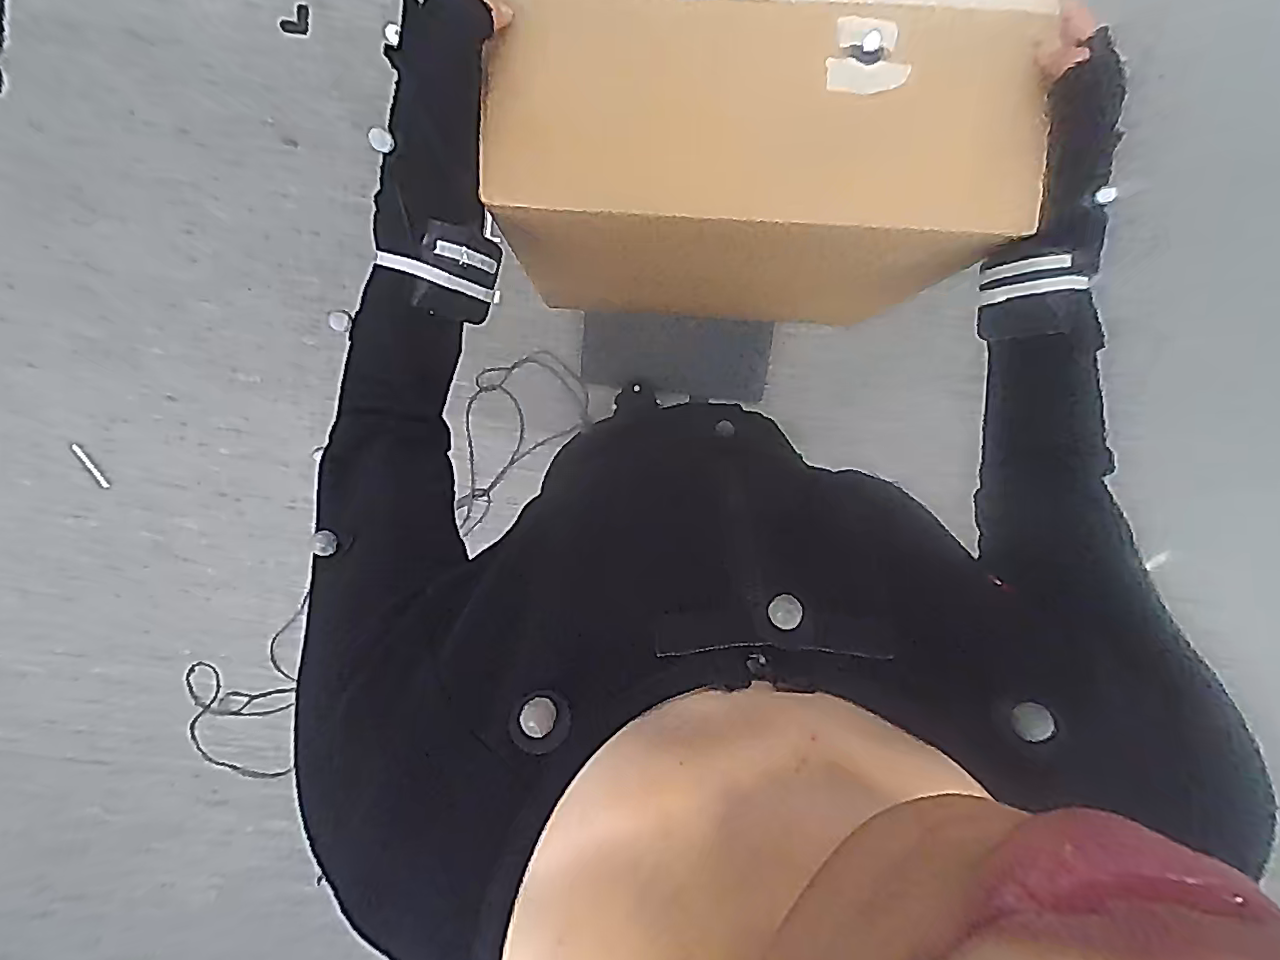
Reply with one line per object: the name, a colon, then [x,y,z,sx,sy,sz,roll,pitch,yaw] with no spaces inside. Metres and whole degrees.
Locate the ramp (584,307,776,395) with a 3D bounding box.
ramp: [0.141,-0.726,1.318,0.509,0.206,0.991,4,96,-2]

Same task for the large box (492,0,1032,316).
large box: [0.087,-0.362,0.544,0.408,0.320,0.320,2,94,-2]
